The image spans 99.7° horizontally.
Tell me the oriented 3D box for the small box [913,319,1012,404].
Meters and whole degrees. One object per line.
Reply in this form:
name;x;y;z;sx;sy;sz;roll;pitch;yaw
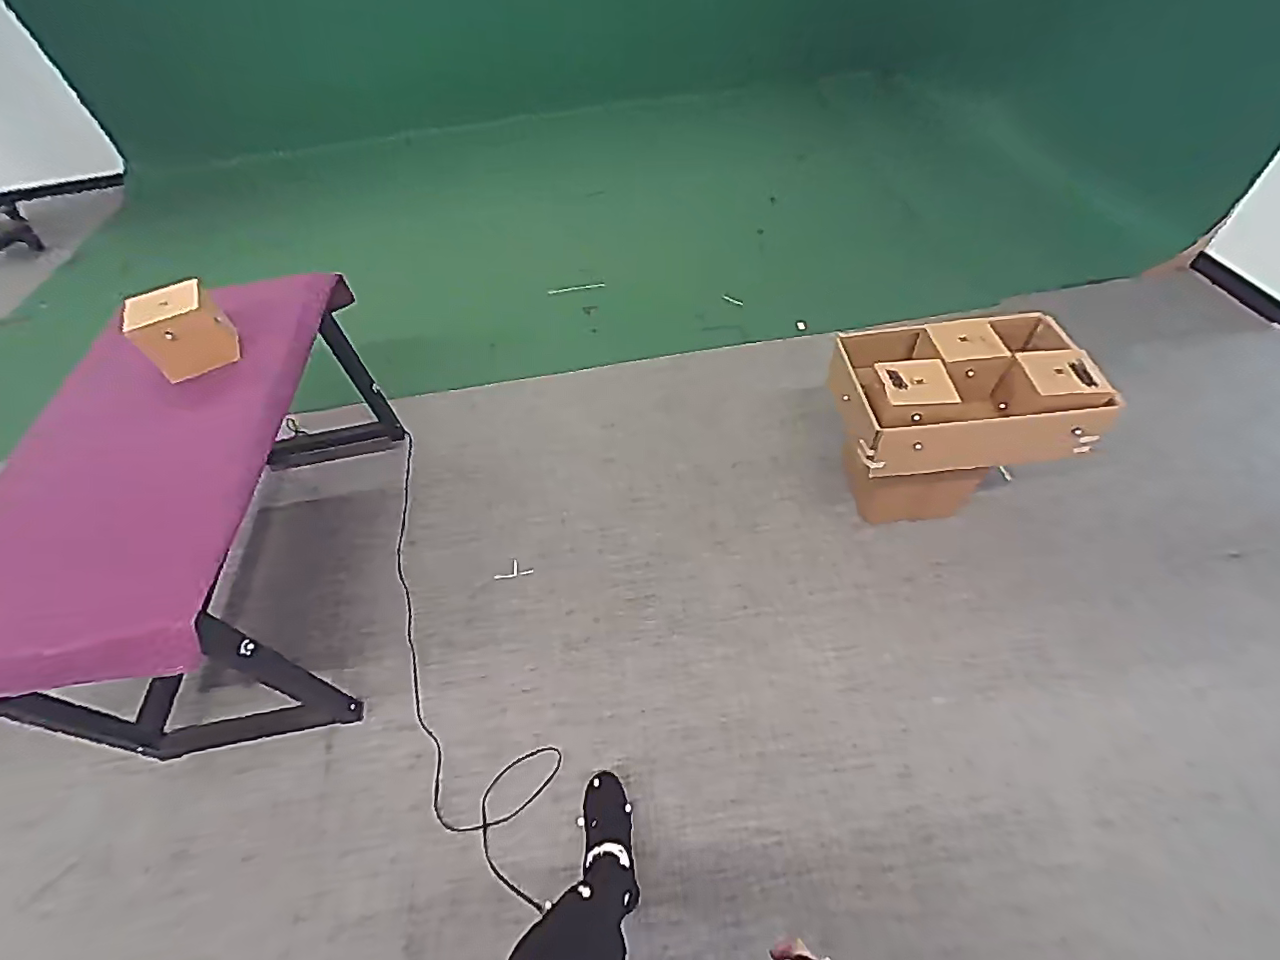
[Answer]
small box;0.903;-0.332;1.541;0.179;0.176;0.168;-5;53;3

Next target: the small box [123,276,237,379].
small box;-1.204;-0.401;1.432;0.179;0.176;0.168;-26;55;-13
